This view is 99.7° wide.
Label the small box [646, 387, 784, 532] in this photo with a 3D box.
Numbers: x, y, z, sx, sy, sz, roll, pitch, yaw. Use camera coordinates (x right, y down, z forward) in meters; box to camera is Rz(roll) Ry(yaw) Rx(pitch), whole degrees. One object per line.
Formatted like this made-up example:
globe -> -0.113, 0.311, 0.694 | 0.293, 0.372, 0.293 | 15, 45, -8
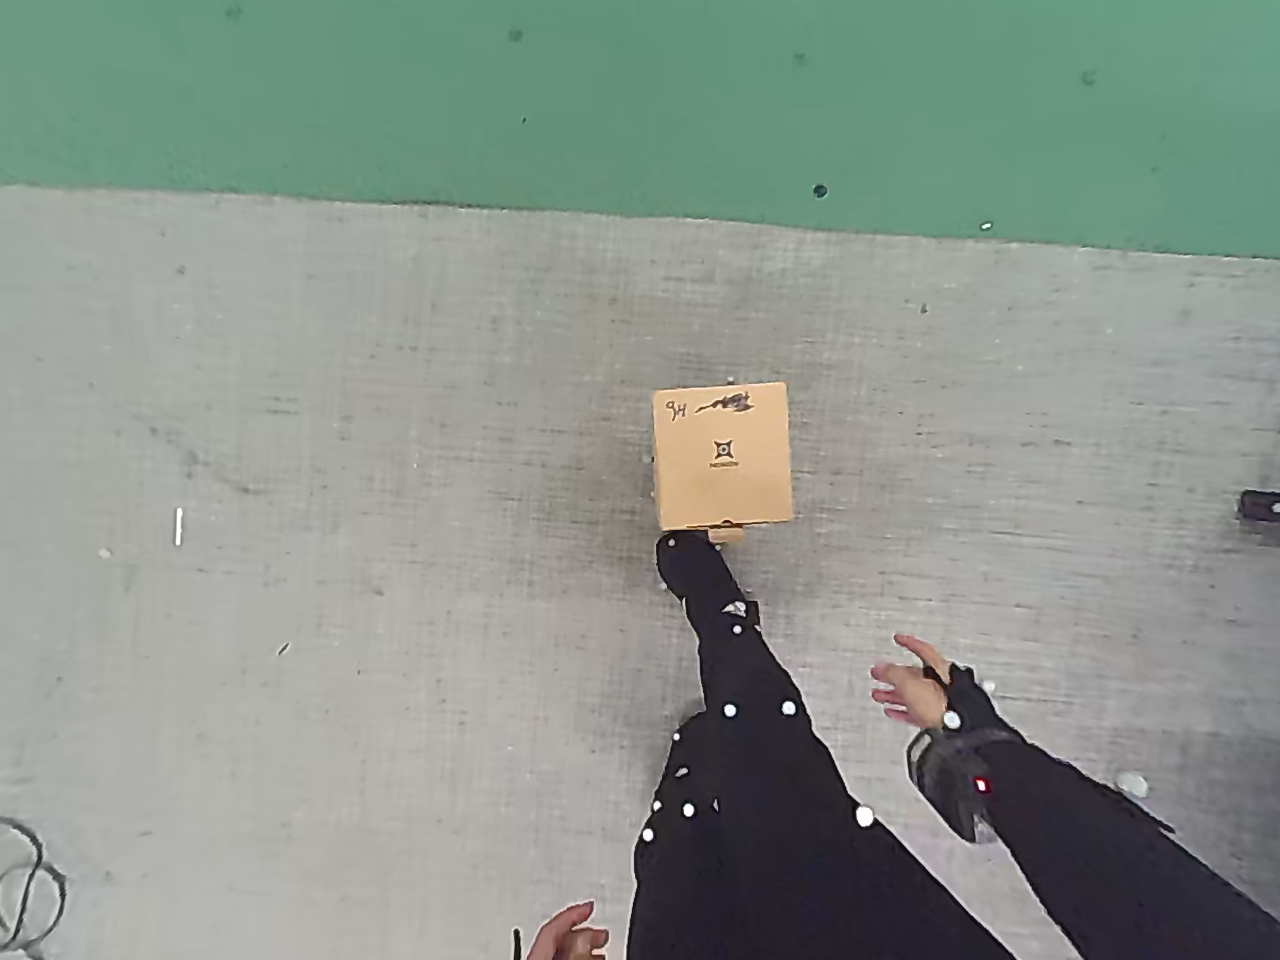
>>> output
small box -> 0.096, -0.031, 0.750 | 0.168, 0.176, 0.179 | -4, 94, -1
